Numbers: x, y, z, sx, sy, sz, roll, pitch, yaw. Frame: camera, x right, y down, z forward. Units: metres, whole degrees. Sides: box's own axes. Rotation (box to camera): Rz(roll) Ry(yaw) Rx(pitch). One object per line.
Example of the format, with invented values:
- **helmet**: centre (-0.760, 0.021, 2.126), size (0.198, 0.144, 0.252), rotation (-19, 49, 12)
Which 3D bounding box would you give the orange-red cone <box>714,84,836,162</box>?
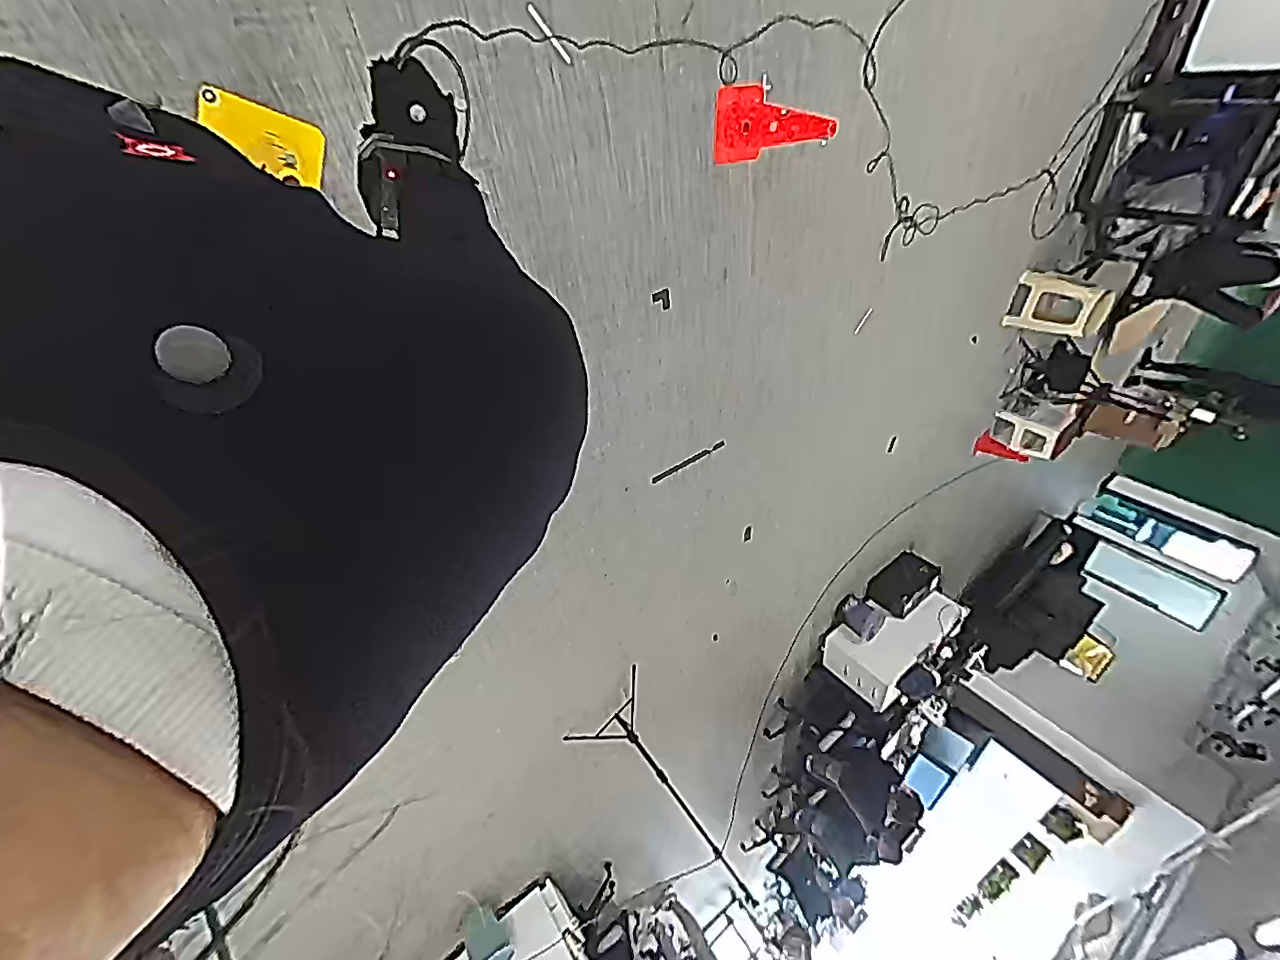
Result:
- **orange-red cone**: centre (0.401, -1.016, 1.545), size (0.199, 0.360, 0.198), rotation (-23, 130, -28)
